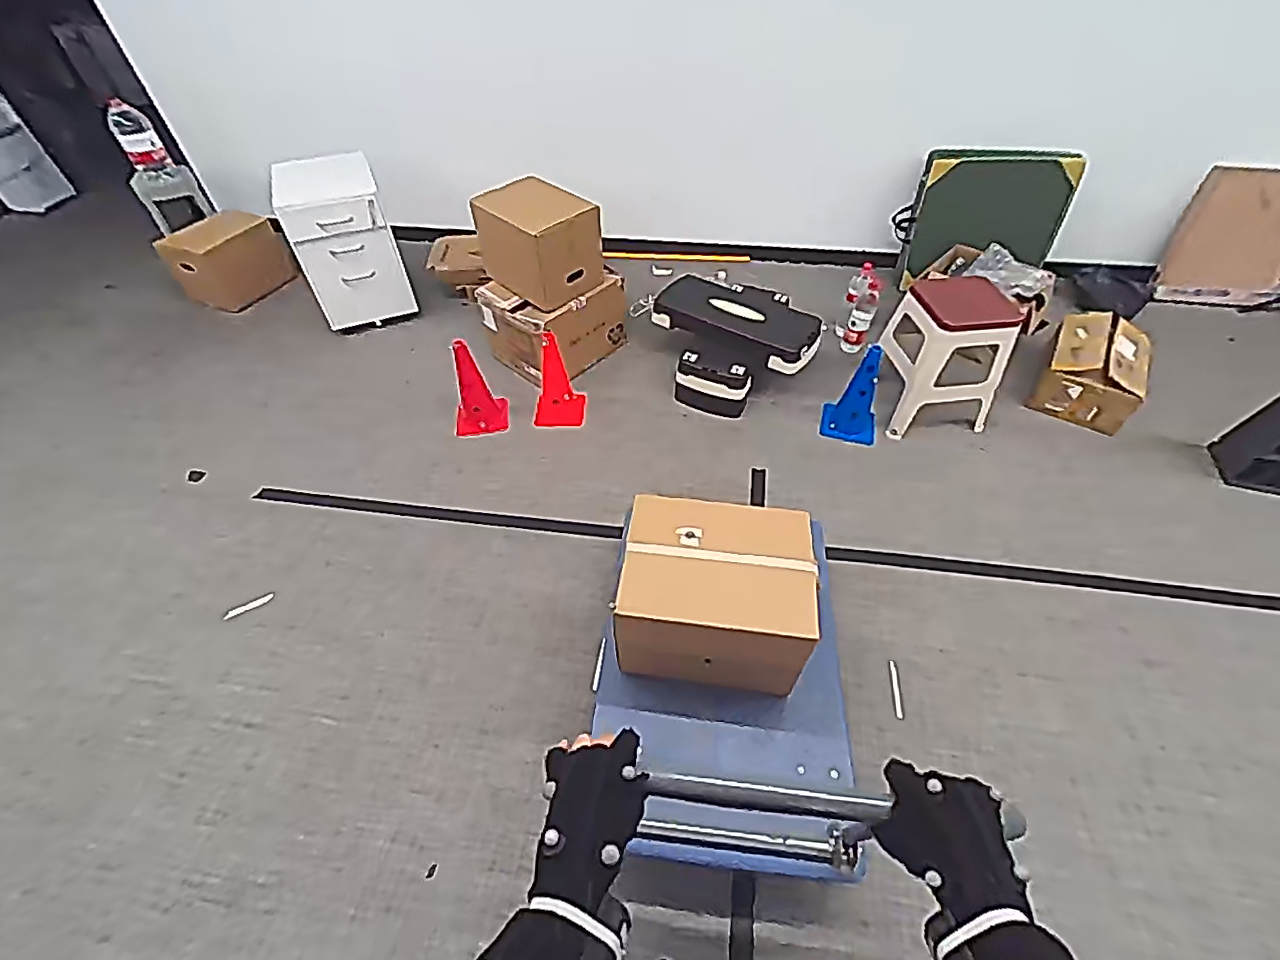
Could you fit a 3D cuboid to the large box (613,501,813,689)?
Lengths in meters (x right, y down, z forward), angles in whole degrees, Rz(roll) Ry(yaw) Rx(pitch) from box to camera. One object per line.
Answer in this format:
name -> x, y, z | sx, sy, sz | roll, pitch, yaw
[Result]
large box -> 0.168, 0.275, 1.281 | 0.408, 0.320, 0.320 | 5, 49, 7
